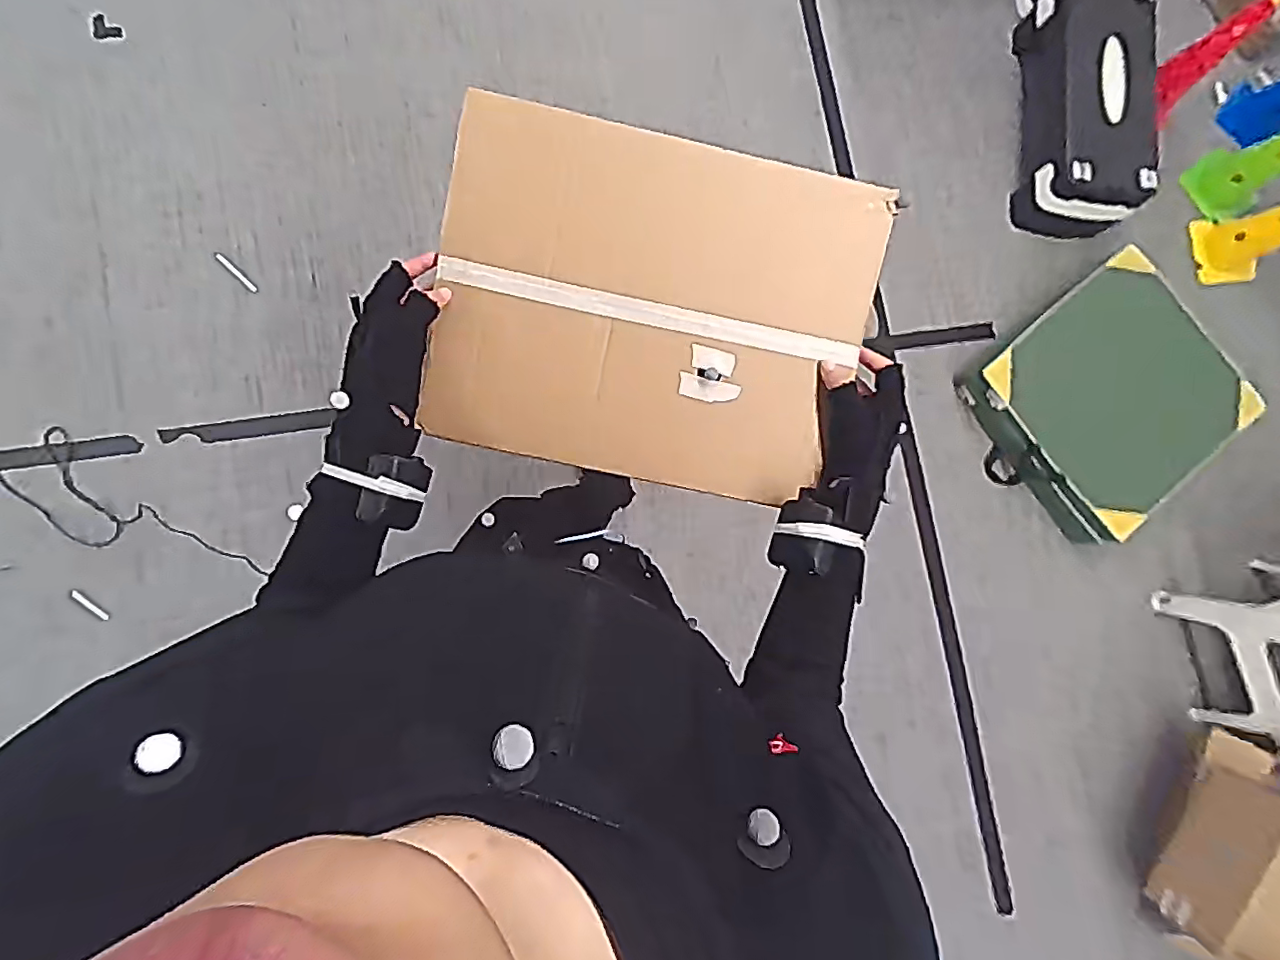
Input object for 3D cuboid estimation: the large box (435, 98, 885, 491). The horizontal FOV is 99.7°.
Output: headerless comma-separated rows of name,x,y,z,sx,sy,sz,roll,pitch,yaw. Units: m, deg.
large box,0.009,-0.192,0.678,0.408,0.320,0.320,12,98,-4
